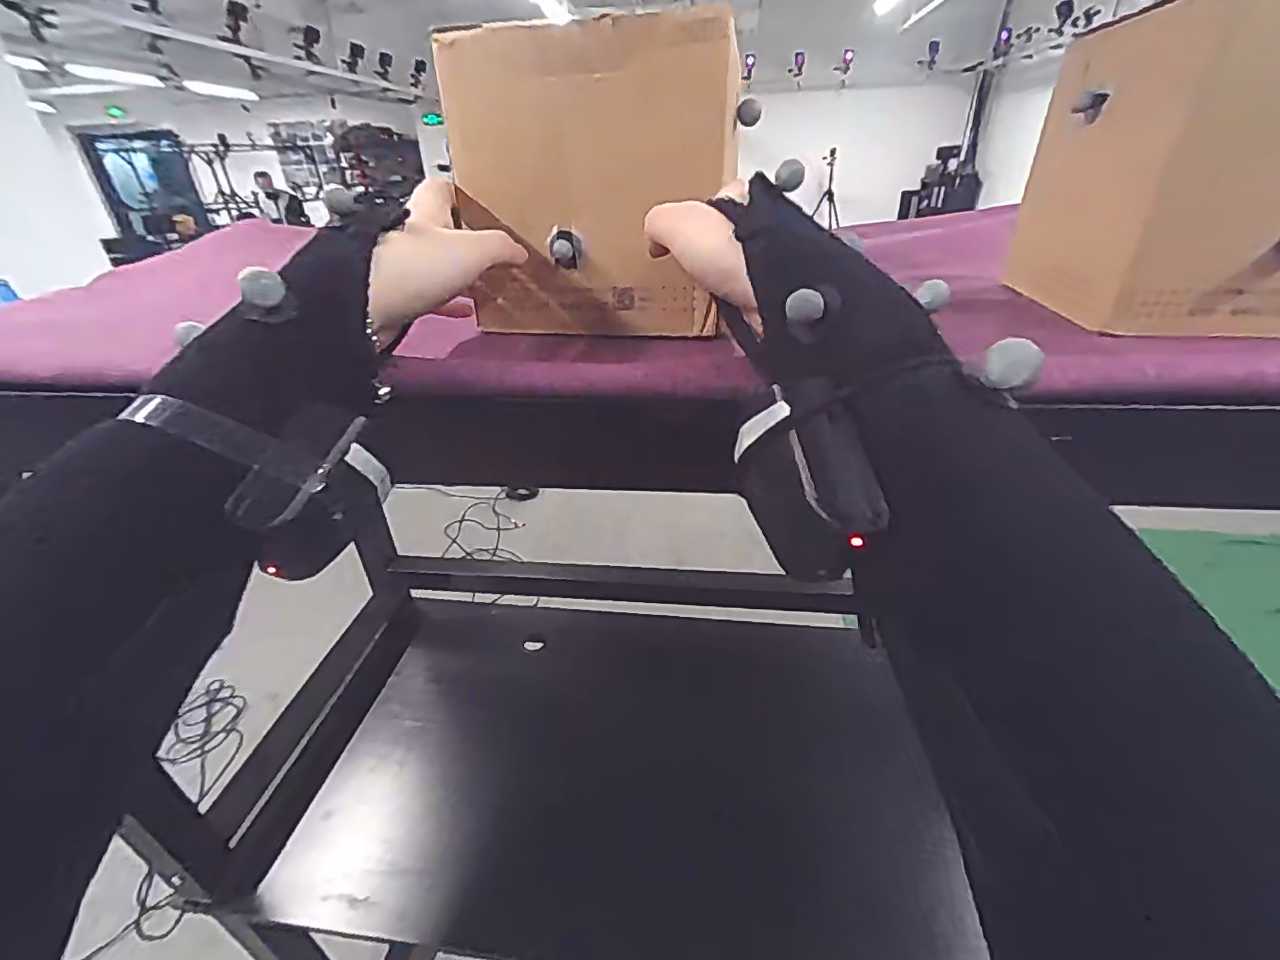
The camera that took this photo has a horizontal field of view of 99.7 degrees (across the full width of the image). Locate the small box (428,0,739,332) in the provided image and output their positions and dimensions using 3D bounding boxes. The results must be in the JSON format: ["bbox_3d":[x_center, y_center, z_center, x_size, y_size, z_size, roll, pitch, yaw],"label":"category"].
[{"bbox_3d":[-0.020,-0.212,0.388,0.168,0.176,0.179,3,30,11],"label":"small box"}]

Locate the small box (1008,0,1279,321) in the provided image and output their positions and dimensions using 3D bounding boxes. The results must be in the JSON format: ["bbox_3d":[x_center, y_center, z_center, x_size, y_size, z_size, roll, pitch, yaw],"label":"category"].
[{"bbox_3d":[0.362,-0.201,0.332,0.168,0.176,0.179,4,32,12],"label":"small box"}]
